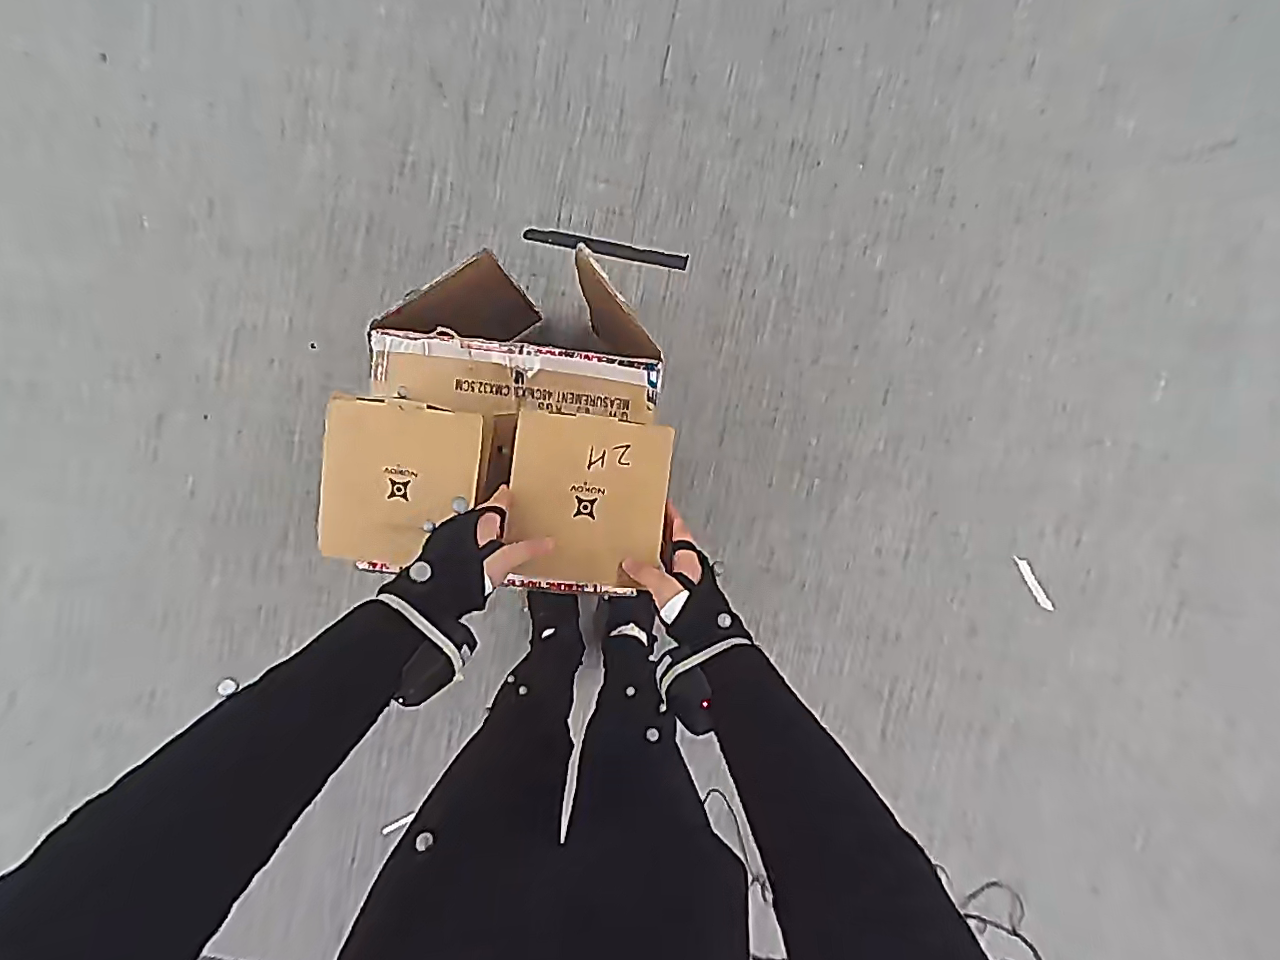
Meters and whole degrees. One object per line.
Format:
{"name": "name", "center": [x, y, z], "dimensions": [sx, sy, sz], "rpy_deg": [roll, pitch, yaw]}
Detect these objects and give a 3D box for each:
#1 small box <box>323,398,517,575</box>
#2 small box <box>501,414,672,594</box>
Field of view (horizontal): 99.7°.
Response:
{"name": "small box", "center": [-0.252, -0.001, 0.655], "dimensions": [0.168, 0.176, 0.179], "rpy_deg": [7, 98, 0]}
{"name": "small box", "center": [-0.056, 0.026, 0.649], "dimensions": [0.168, 0.176, 0.179], "rpy_deg": [7, 89, -1]}
